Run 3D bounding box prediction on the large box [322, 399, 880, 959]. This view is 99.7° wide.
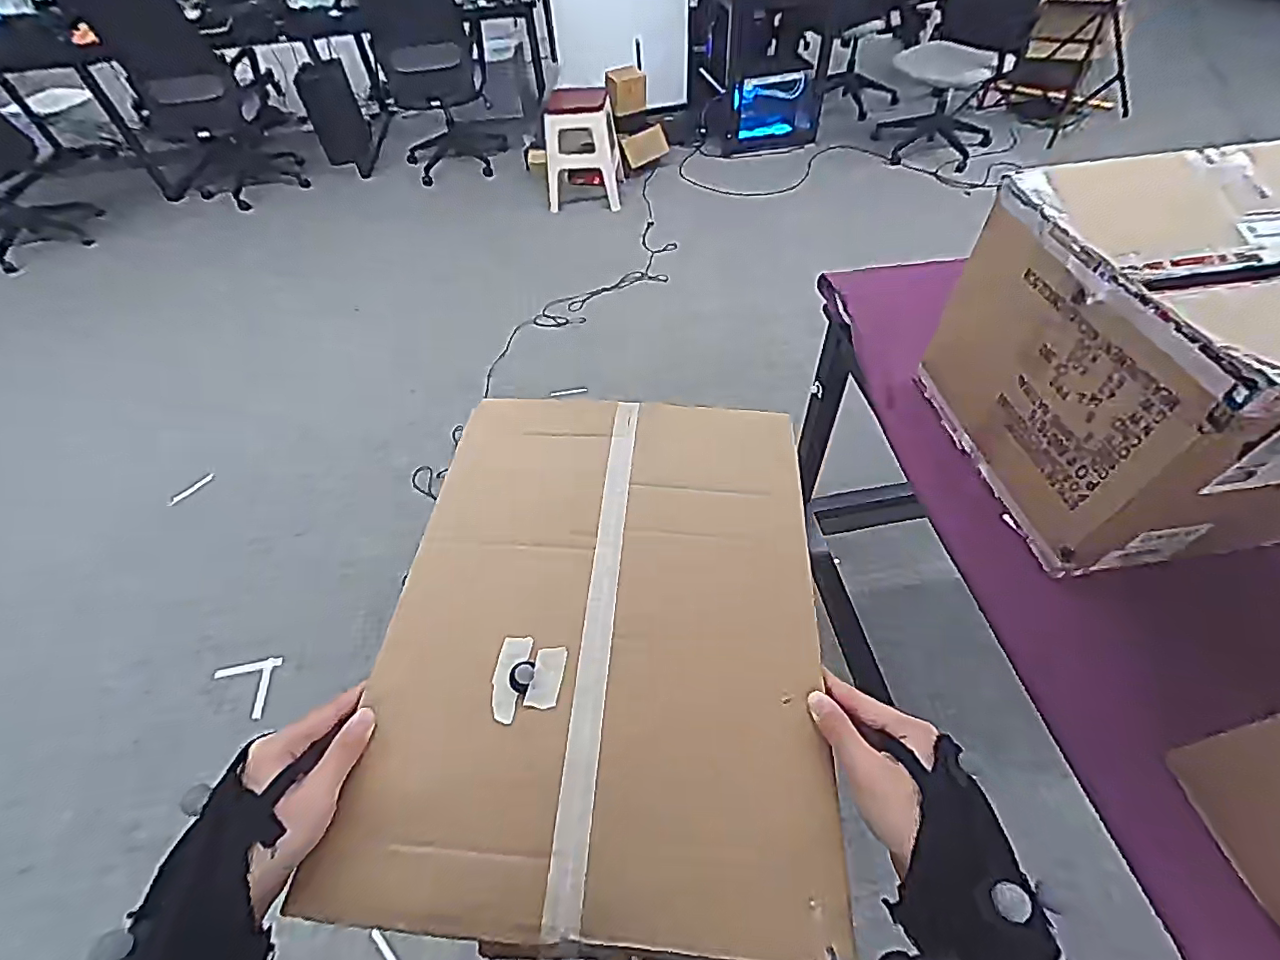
[{"bbox_3d":[-0.014,0.173,0.526,0.320,0.320,0.408,2,53,4],"label":"large box"}]
